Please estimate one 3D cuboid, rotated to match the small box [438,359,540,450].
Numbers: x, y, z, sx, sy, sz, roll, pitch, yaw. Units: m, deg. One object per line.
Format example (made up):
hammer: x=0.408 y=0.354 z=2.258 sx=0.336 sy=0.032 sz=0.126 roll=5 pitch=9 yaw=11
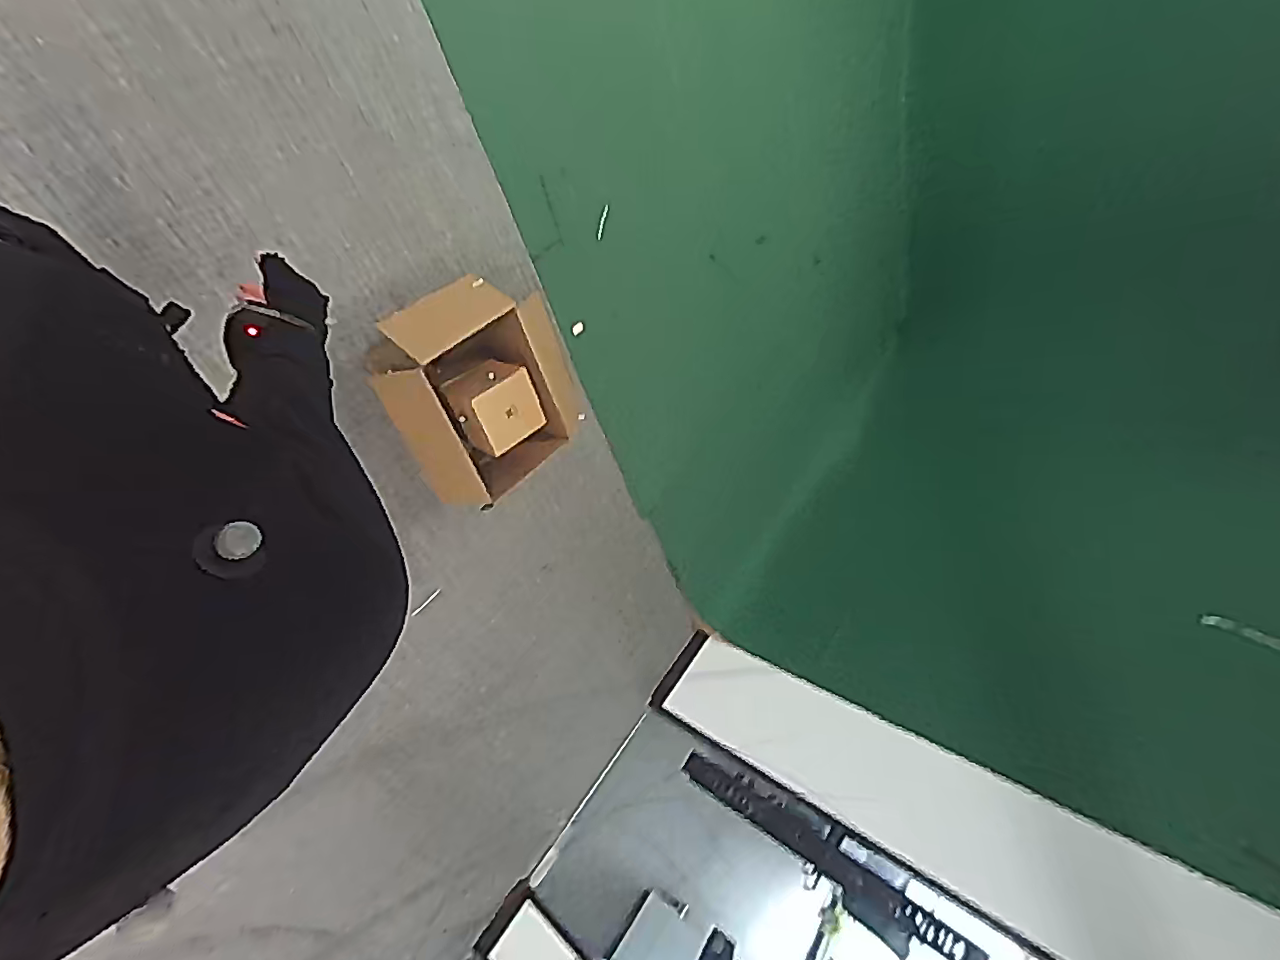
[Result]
small box: x=-0.399 y=-0.202 z=1.414 sx=0.179 sy=0.176 sz=0.168 roll=-43 pitch=132 yaw=-32
